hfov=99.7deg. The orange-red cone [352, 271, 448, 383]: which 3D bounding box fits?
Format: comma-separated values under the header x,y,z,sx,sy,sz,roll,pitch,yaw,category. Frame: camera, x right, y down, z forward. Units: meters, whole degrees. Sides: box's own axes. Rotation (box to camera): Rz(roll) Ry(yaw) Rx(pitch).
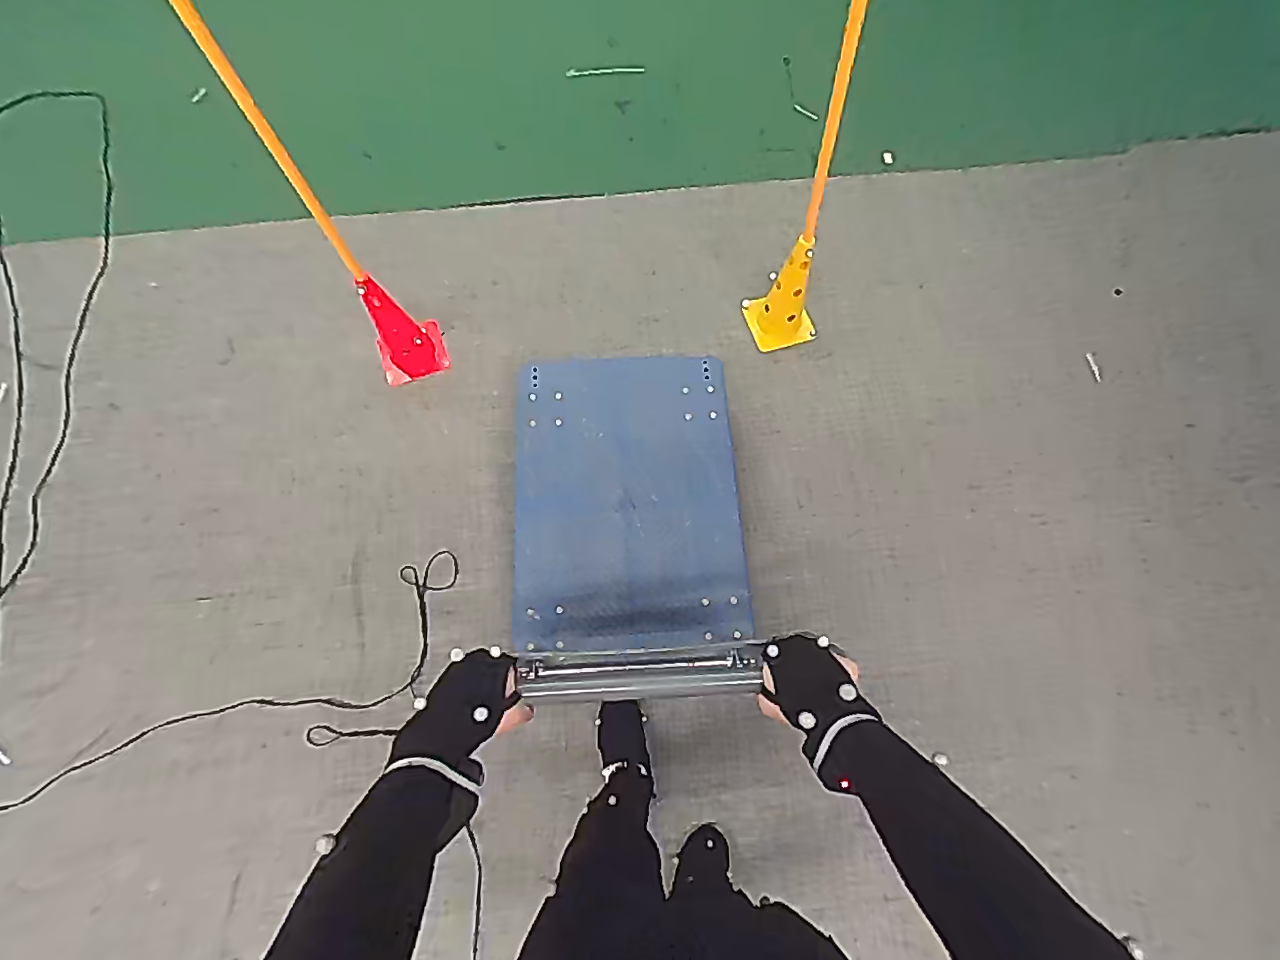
x,y,z,sx,sy,sz,roll,pitch,yaw,category
-0.727,-0.468,1.566,0.199,0.360,0.198,-20,71,-5,orange-red cone
